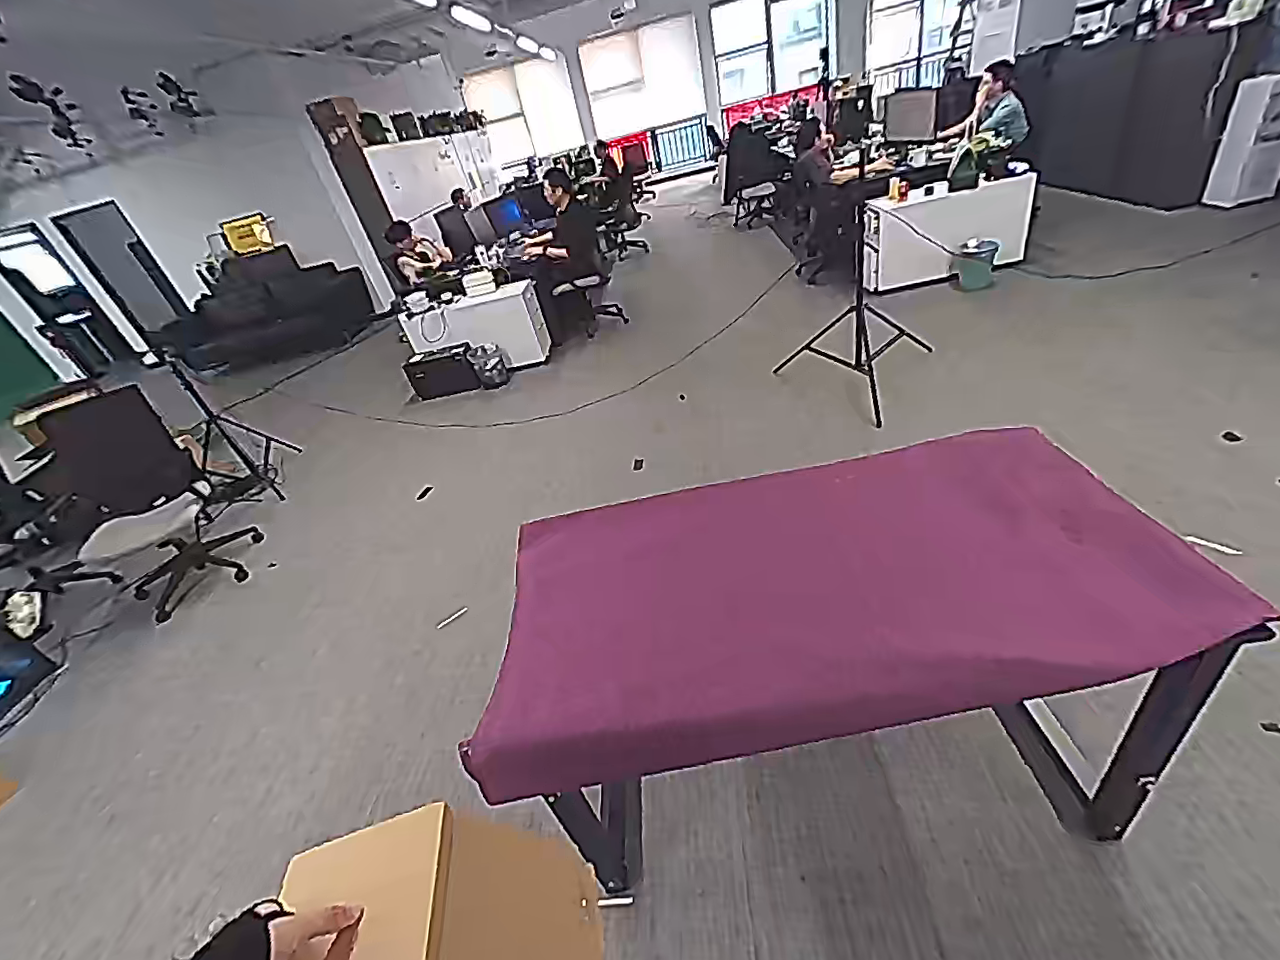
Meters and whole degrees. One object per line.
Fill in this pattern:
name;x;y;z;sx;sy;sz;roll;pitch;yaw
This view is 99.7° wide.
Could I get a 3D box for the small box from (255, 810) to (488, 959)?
small box;-0.265;0.491;0.560;0.179;0.176;0.168;-12;24;-7
